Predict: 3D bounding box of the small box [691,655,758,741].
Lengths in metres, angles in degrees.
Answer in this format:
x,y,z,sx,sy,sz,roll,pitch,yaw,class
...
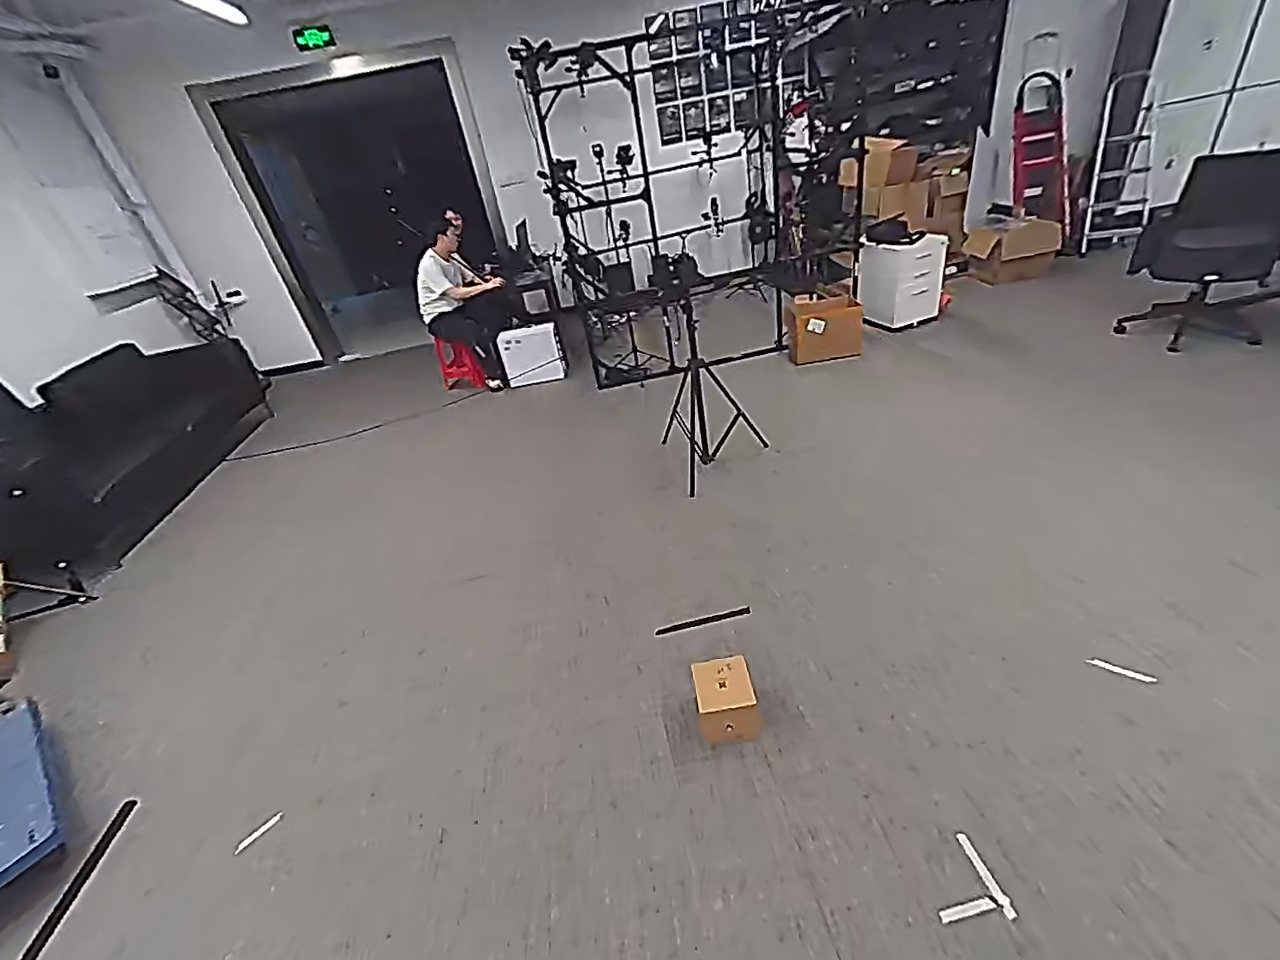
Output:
x,y,z,sx,sy,sz,roll,pitch,yaw,class
0.256,0.664,1.635,0.168,0.176,0.179,-10,32,1,small box
